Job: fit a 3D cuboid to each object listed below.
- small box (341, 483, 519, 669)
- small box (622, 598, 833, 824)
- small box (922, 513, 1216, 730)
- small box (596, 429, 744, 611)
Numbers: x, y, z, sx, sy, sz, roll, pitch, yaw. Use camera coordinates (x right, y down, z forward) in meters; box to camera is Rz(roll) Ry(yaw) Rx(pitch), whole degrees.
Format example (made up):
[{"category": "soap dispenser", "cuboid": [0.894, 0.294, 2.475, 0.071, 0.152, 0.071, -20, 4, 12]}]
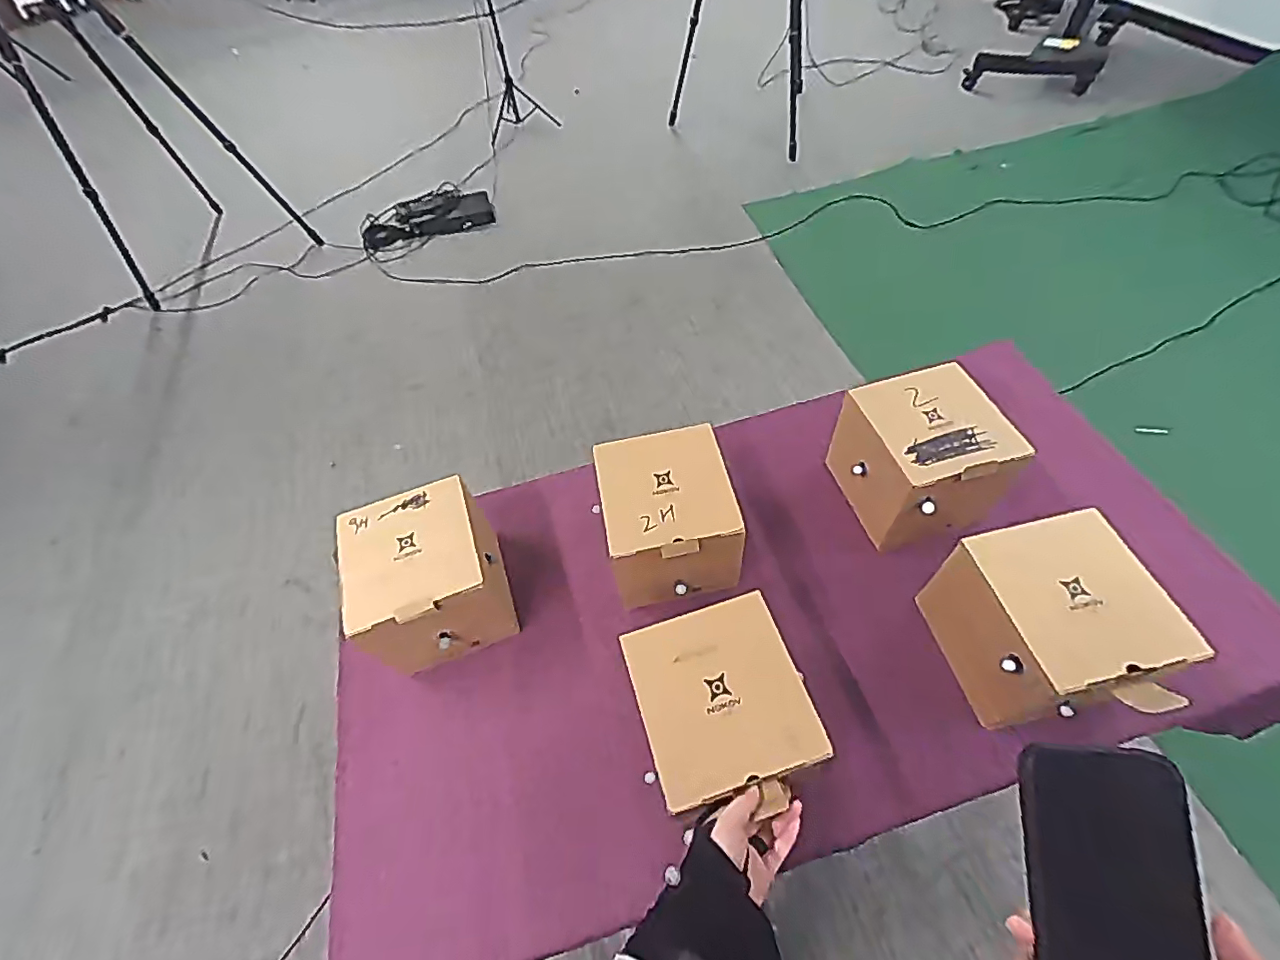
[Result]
[{"category": "small box", "cuboid": [-0.278, 0.139, 0.735, 0.168, 0.176, 0.179, -20, 56, -8]}, {"category": "small box", "cuboid": [0.089, 0.264, 0.606, 0.168, 0.176, 0.179, -17, 54, -6]}, {"category": "small box", "cuboid": [0.465, 0.167, 0.628, 0.168, 0.176, 0.179, -13, 55, -2]}, {"category": "small box", "cuboid": [0.039, 0.059, 0.753, 0.168, 0.176, 0.179, -11, 55, -1]}]
